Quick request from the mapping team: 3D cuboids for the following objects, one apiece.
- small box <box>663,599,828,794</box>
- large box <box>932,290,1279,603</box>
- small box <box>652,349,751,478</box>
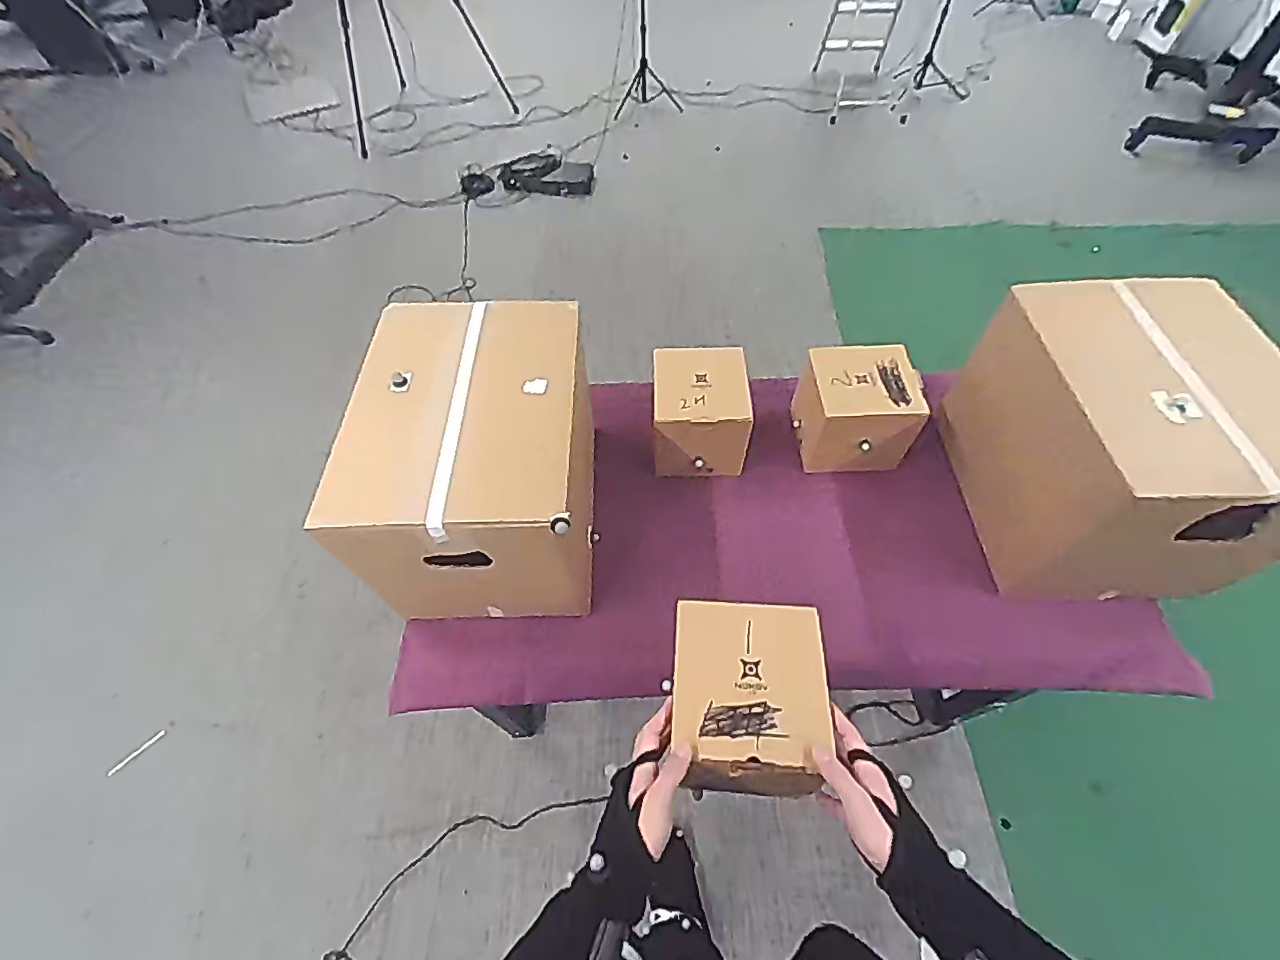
[{"bbox_3d":[0.118,0.263,0.648,0.168,0.176,0.179,2,51,5],"label":"small box"},{"bbox_3d":[0.734,-0.048,0.861,0.320,0.320,0.408,-1,56,3],"label":"large box"},{"bbox_3d":[0.107,-0.122,1.007,0.168,0.176,0.179,-1,56,2],"label":"small box"}]
